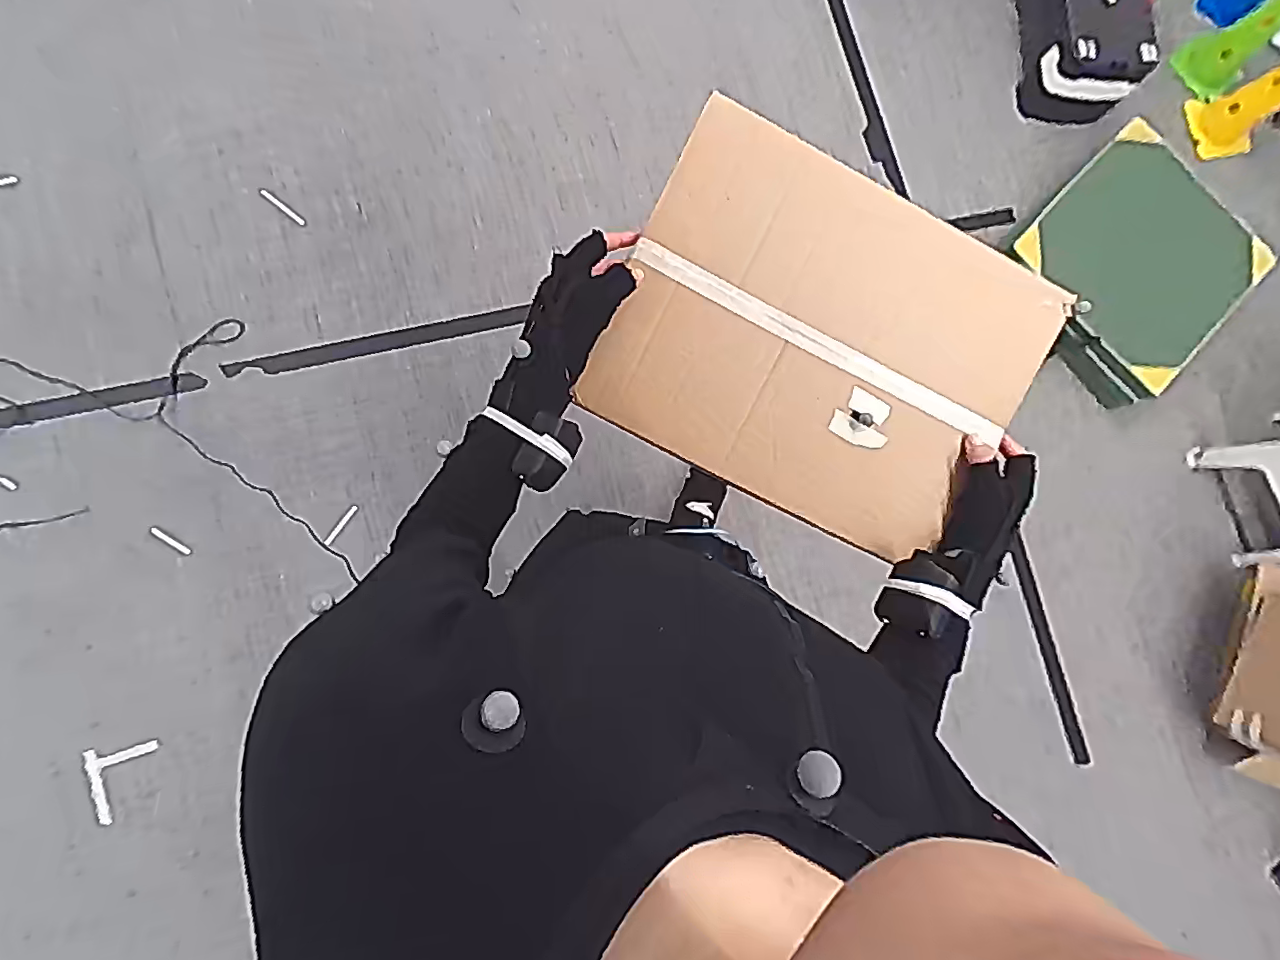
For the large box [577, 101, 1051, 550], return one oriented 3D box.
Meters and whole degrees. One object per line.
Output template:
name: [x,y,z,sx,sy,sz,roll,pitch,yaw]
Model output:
large box: [0.168,-0.160,0.689,0.408,0.320,0.320,26,95,-6]
